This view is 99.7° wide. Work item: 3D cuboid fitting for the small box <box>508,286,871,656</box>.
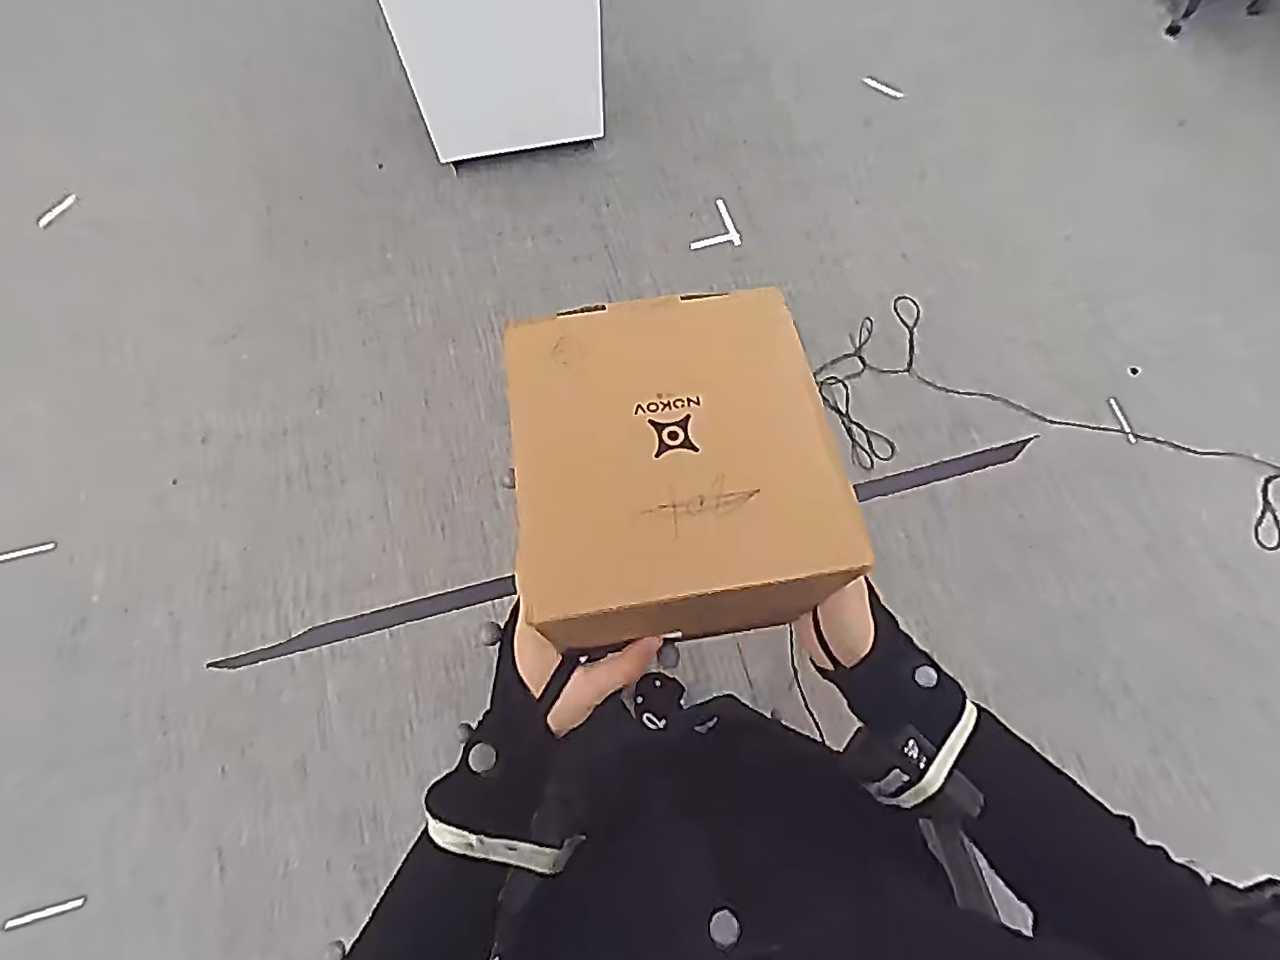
[{"bbox_3d":[0.015,0.005,0.353,0.168,0.176,0.179,-8,67,-4],"label":"small box"}]
